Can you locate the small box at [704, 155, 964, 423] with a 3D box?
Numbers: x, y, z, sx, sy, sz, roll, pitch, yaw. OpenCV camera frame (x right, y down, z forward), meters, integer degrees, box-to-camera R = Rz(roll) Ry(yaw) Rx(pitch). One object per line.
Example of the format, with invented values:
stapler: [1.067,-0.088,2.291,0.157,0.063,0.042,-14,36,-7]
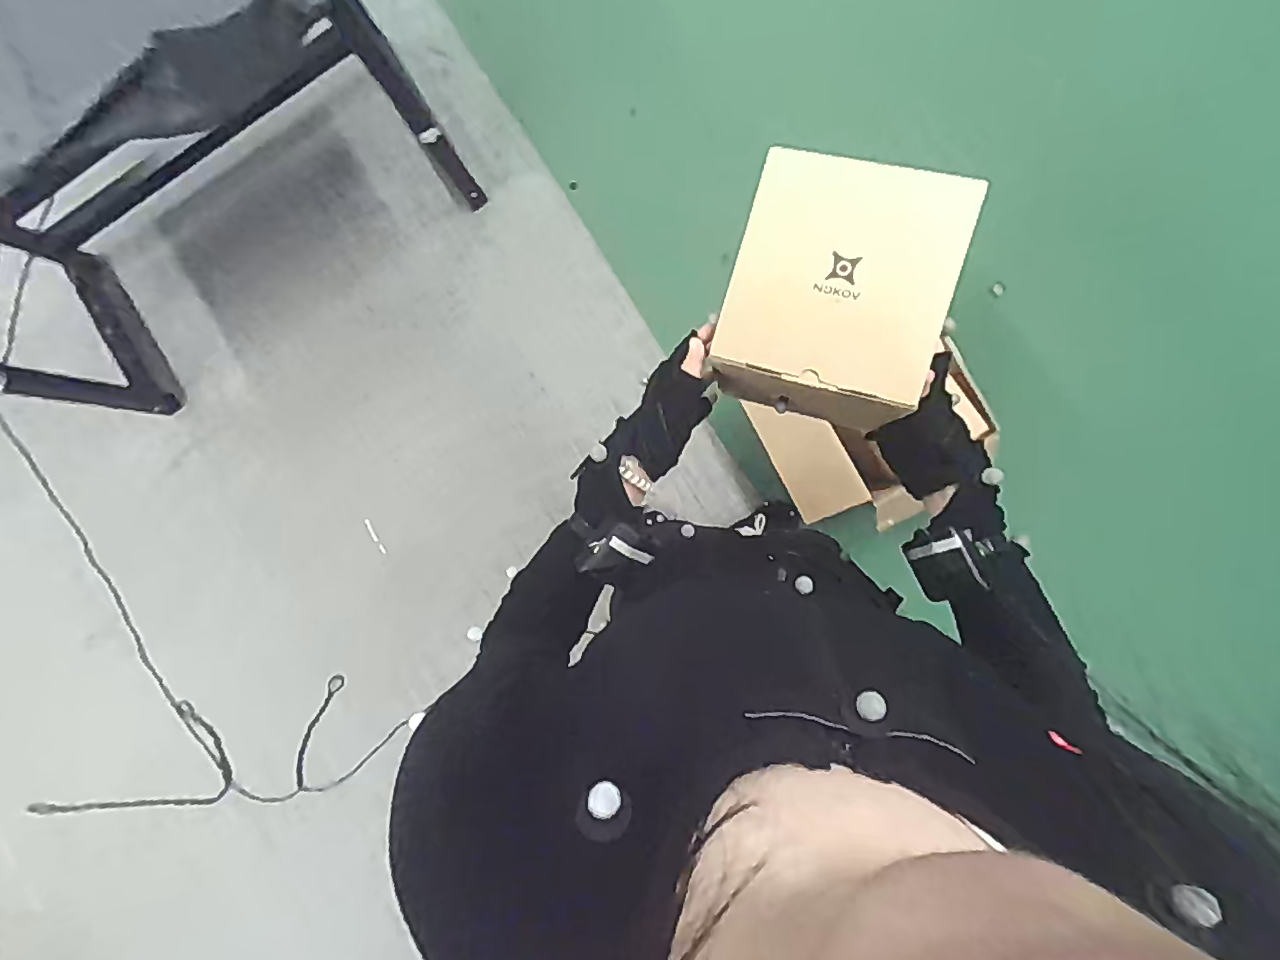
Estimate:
small box: [0.166,-0.163,0.512,0.168,0.176,0.179,16,94,11]
